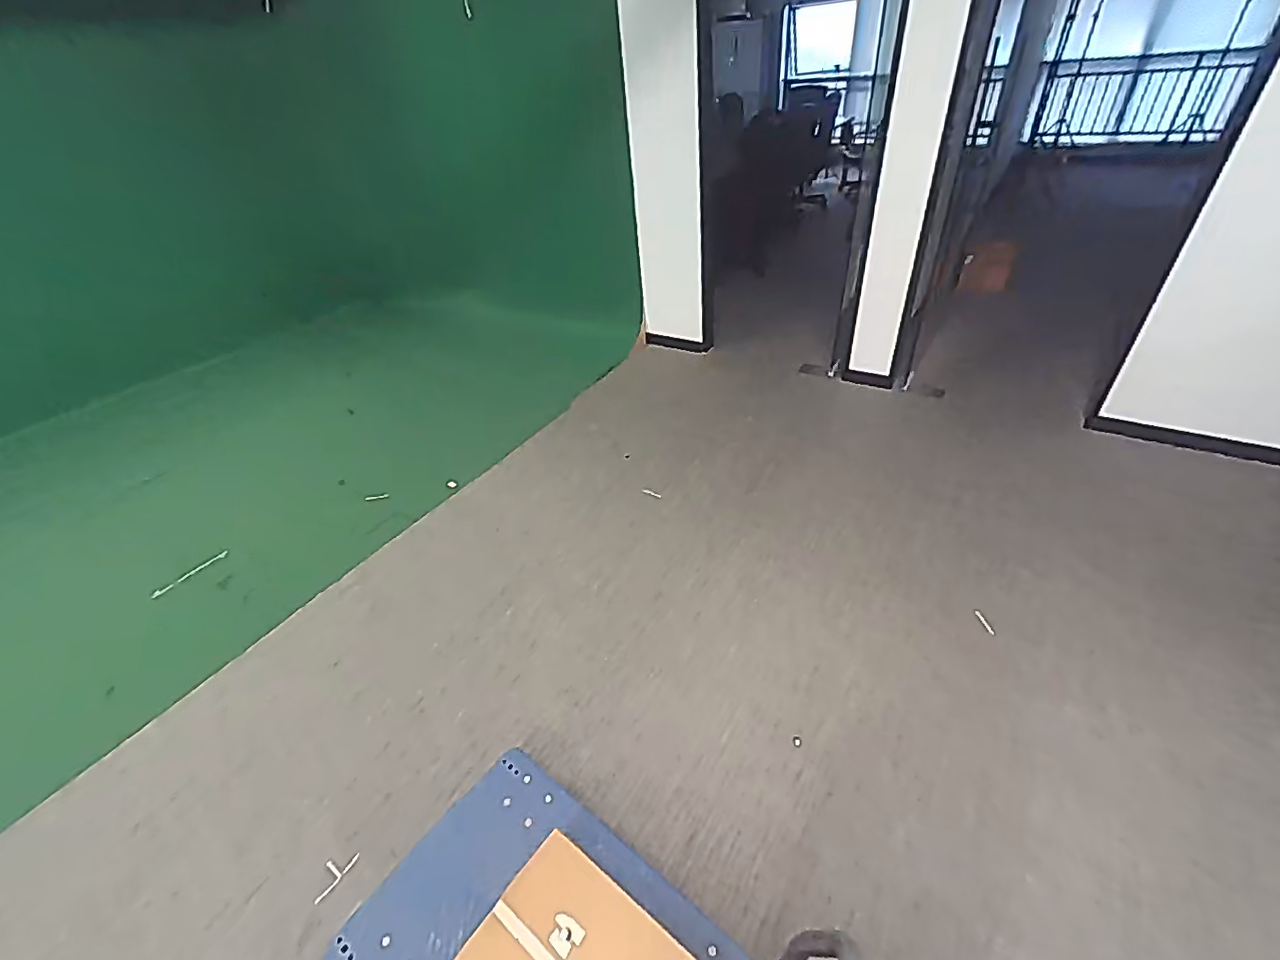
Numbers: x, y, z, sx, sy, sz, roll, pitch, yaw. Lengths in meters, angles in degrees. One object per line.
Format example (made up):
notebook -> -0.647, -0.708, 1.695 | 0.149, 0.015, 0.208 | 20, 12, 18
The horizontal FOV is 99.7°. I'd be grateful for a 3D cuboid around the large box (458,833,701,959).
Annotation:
large box -> -0.086, 0.961, 0.981 | 0.408, 0.320, 0.320 | 22, 46, 32
